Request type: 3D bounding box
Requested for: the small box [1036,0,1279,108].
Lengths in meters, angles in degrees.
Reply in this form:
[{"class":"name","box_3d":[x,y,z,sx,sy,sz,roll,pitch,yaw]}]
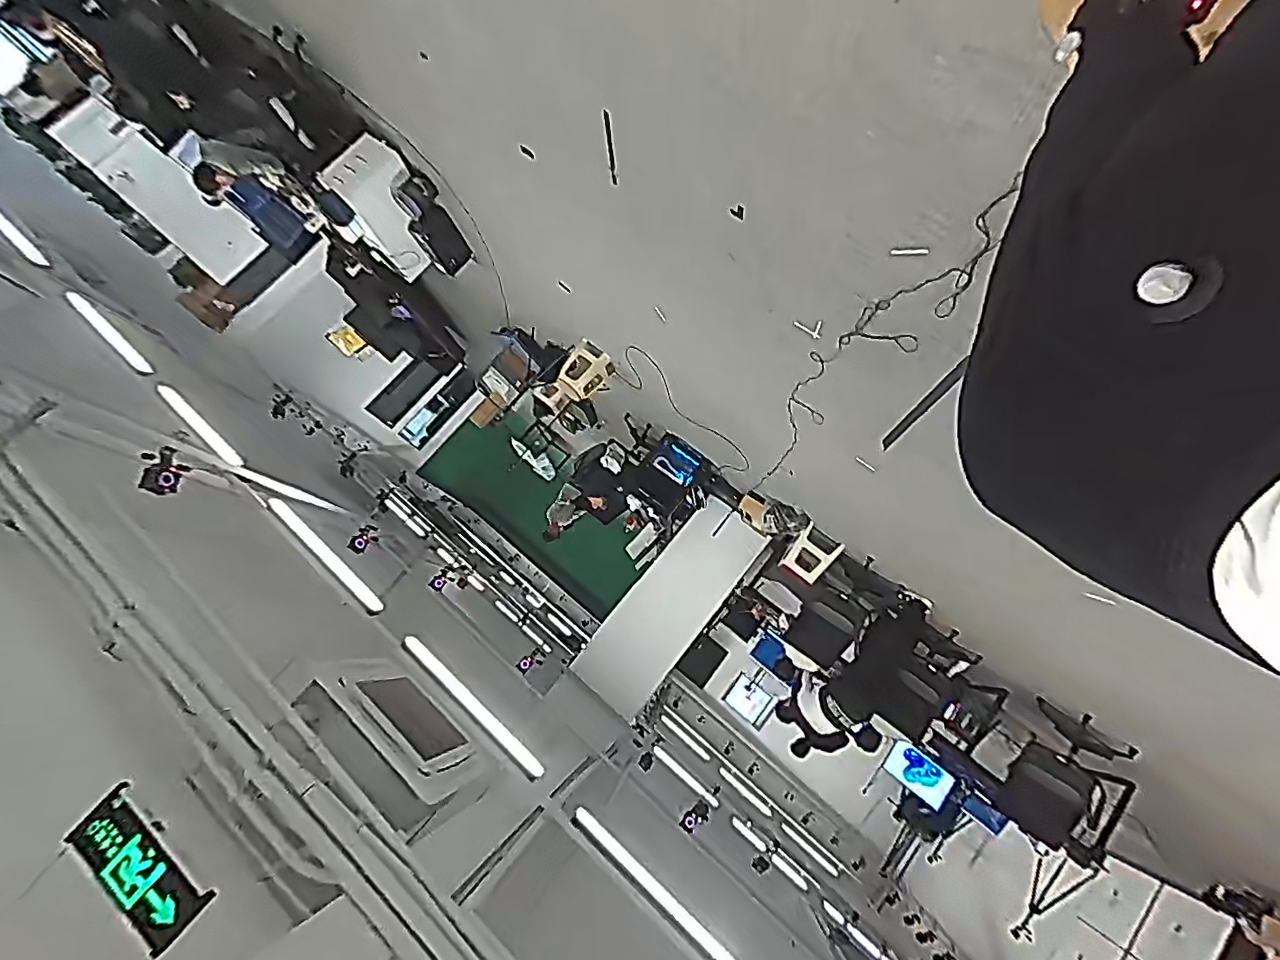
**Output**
[{"class":"small box","box_3d":[0.567,-0.544,0.574,0.176,0.179,0.168,31,165,-26]}]
